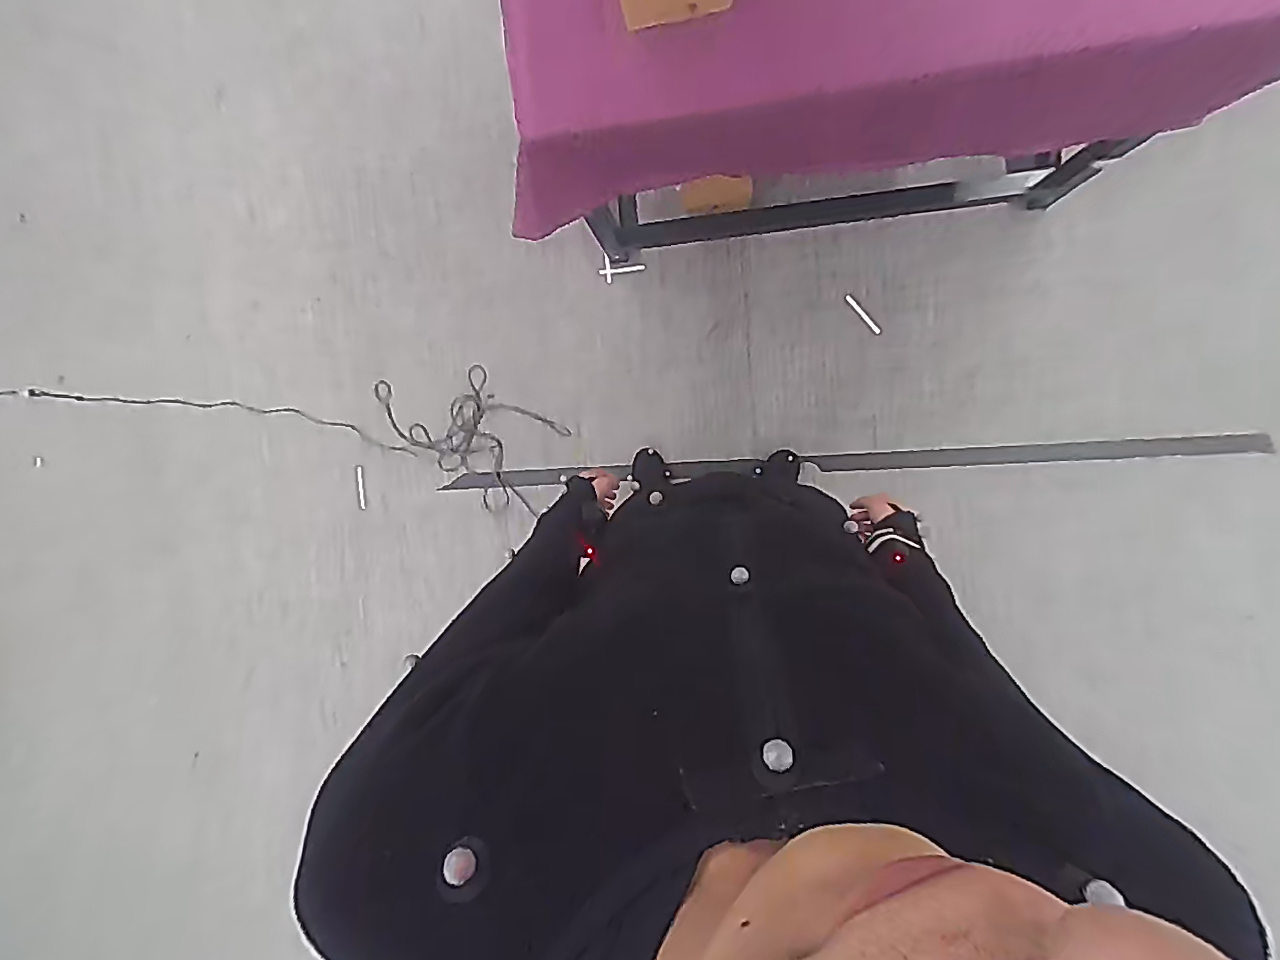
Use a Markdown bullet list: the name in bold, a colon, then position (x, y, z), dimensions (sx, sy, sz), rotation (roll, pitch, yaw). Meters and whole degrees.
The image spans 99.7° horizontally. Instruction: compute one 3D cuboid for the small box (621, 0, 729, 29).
- **small box**: position (0.038, -0.786, 0.746), dimensions (0.168, 0.176, 0.179), rotation (-6, 94, 8)
